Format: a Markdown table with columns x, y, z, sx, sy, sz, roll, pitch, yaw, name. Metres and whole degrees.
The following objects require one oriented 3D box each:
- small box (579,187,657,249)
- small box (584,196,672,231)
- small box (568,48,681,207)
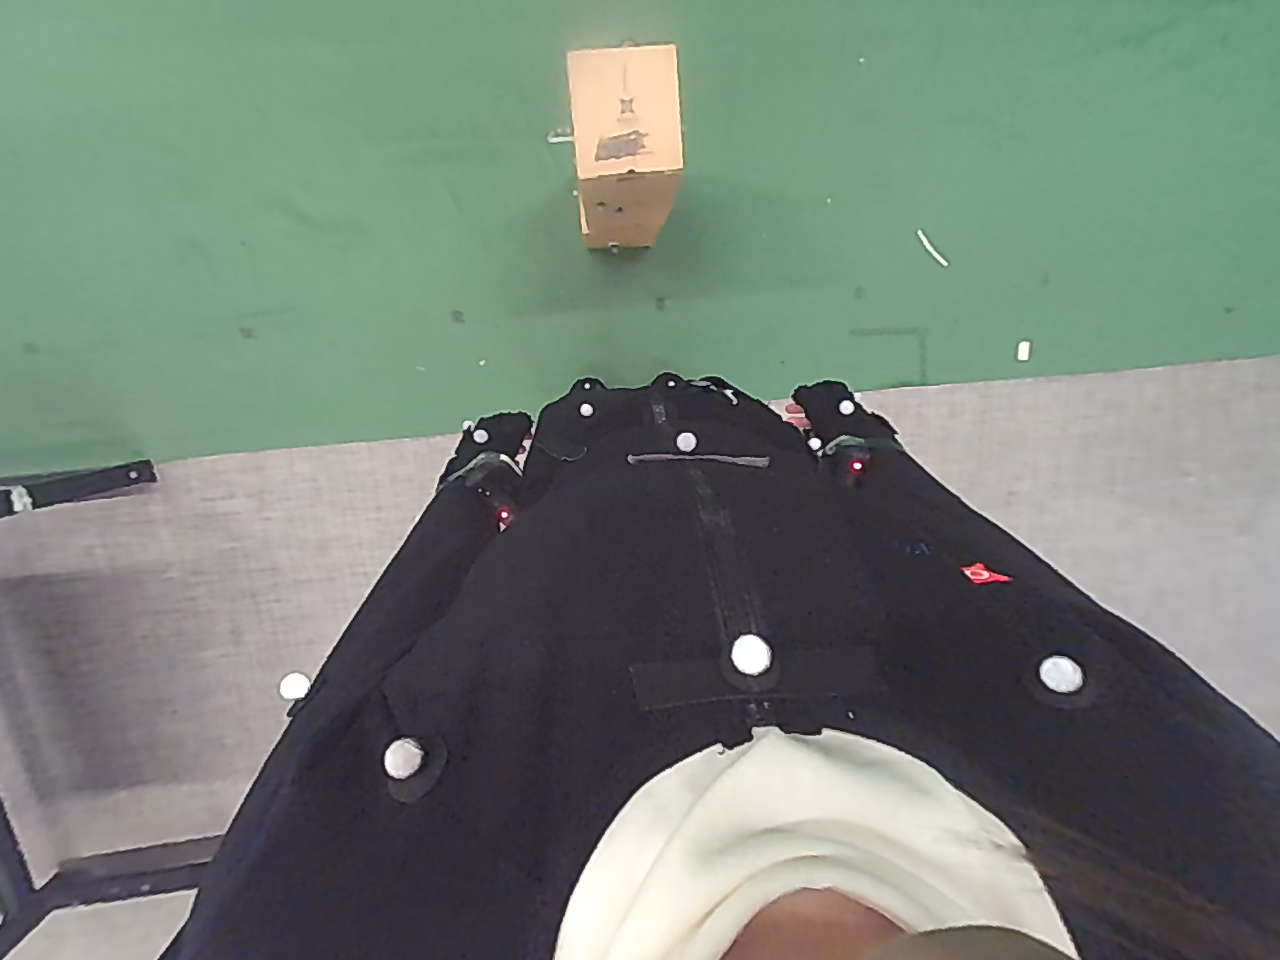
| x | y | z | sx | sy | sz | roll | pitch | yaw | name |
| --- | --- | --- | --- | --- | --- | --- | --- | --- | --- |
| -0.050 | -0.625 | 1.200 | 0.168 | 0.176 | 0.179 | -2 | 102 | -1 | small box |
| -0.032 | -0.602 | 1.057 | 0.168 | 0.176 | 0.179 | -5 | 101 | -2 | small box |
| -0.025 | -0.568 | 0.896 | 0.168 | 0.176 | 0.179 | -5 | 101 | -2 | small box |
